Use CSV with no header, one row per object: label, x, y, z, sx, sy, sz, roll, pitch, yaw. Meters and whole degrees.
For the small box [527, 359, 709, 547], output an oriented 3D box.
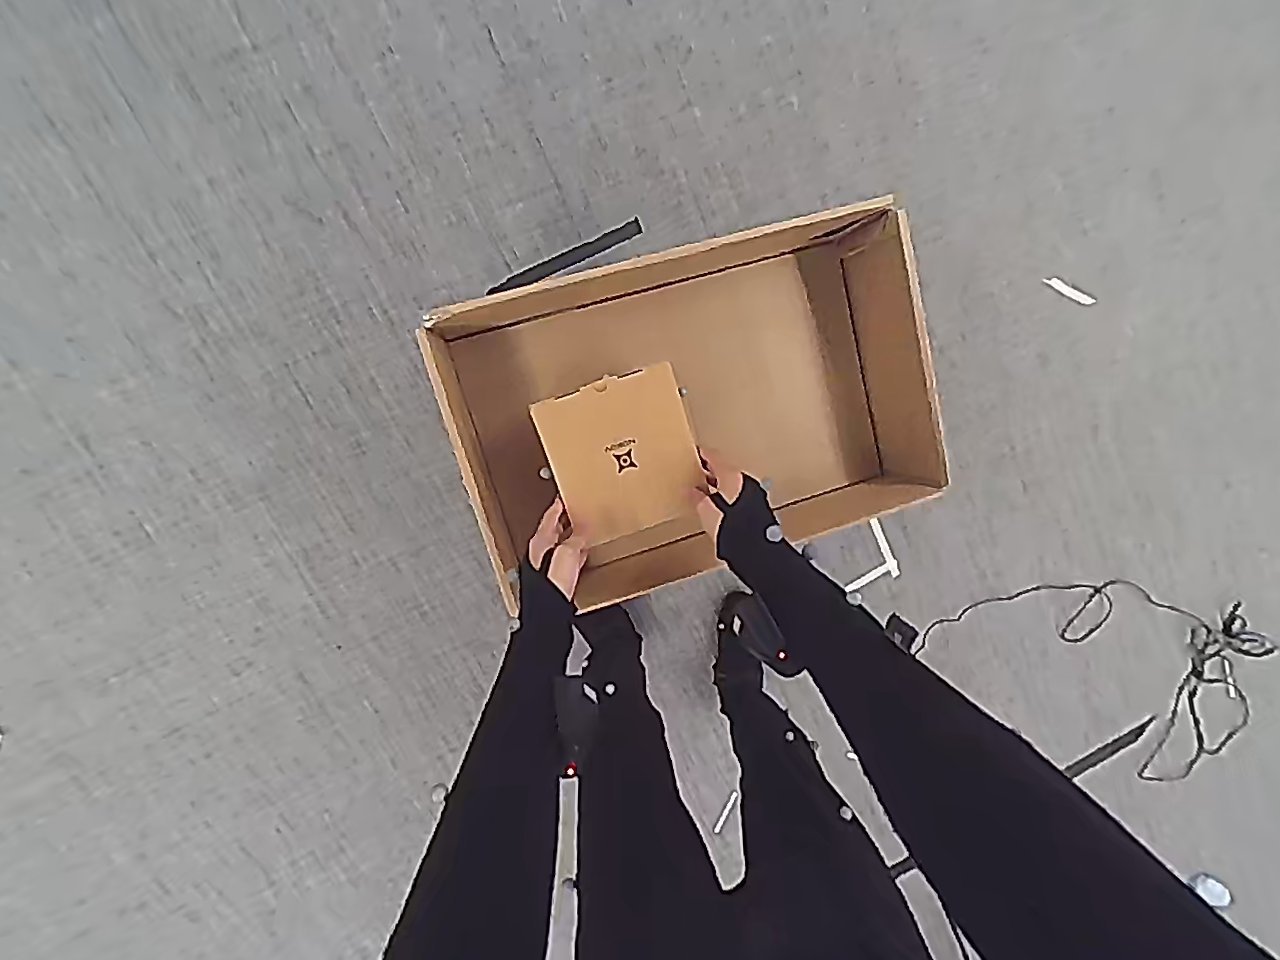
small box,-0.027,-0.040,0.683,0.168,0.176,0.179,-19,98,-1
